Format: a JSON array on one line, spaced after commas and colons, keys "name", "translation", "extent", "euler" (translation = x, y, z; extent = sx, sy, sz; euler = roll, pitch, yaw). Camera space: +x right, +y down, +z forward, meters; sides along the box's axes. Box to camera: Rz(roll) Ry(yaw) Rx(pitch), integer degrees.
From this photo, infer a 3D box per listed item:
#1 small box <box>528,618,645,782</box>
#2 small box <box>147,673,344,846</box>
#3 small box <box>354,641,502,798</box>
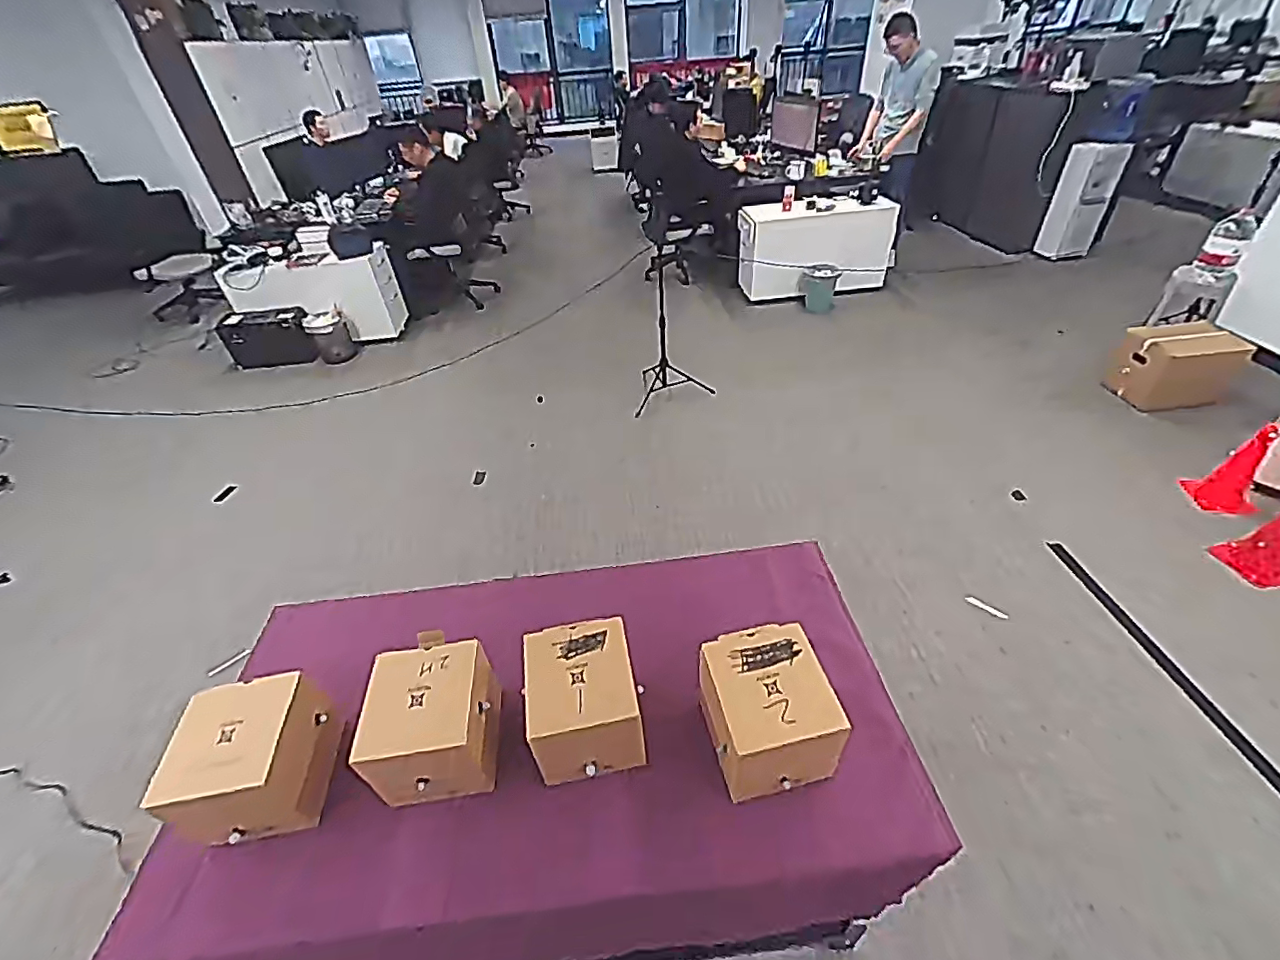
[{"name": "small box", "translation": [-0.089, 0.361, 0.892], "extent": [0.168, 0.176, 0.179], "euler": [-10, 41, -6]}, {"name": "small box", "translation": [-0.598, 0.439, 0.854], "extent": [0.168, 0.176, 0.179], "euler": [-9, 40, -4]}, {"name": "small box", "translation": [-0.328, 0.393, 0.879], "extent": [0.168, 0.176, 0.179], "euler": [-7, 40, -3]}]
